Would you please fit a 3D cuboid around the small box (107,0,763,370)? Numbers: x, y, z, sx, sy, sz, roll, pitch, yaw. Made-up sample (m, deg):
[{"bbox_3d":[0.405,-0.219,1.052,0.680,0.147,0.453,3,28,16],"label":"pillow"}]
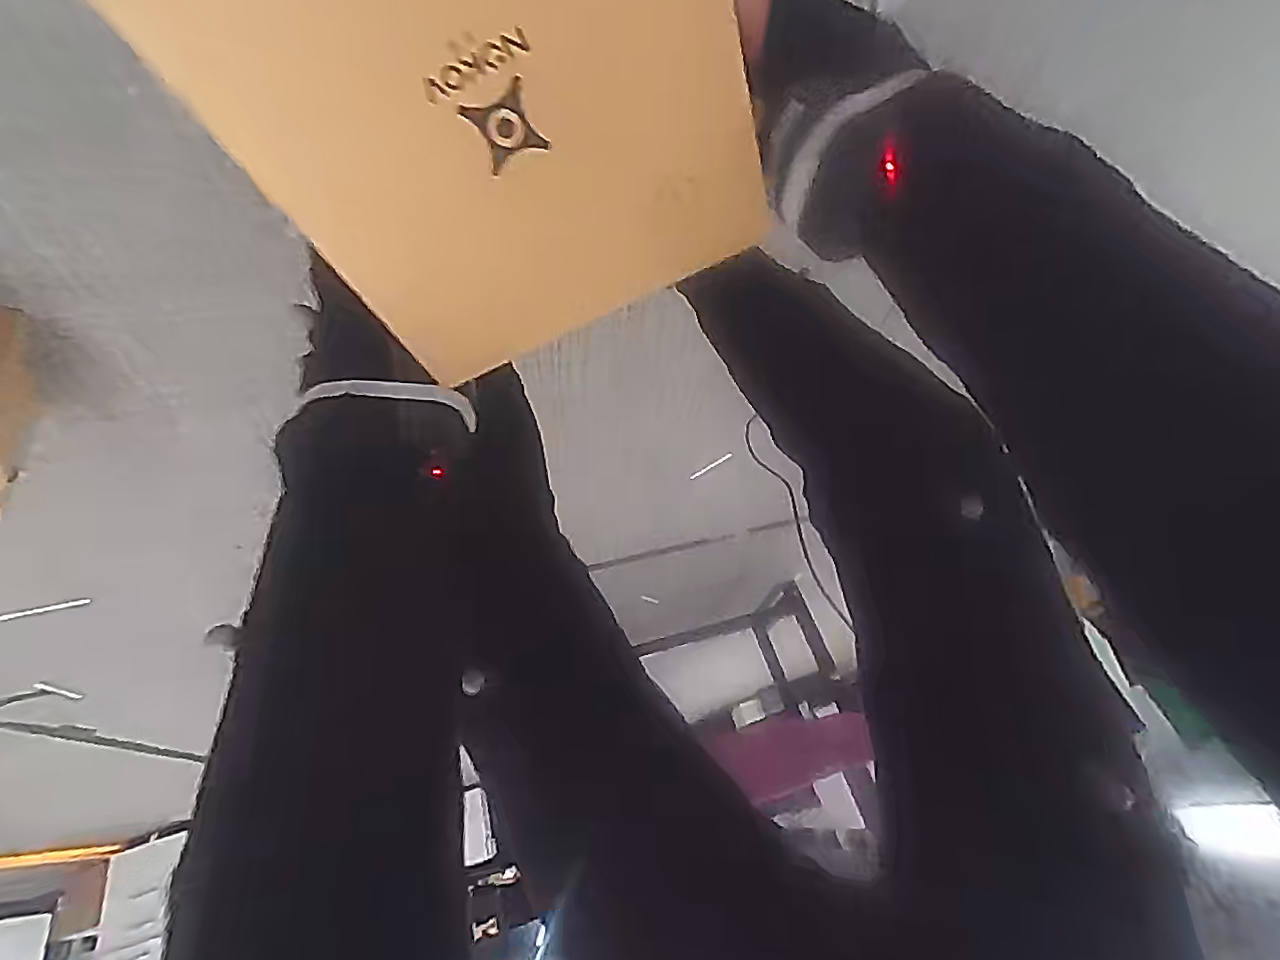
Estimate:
[{"bbox_3d":[-0.065,-0.187,0.227,0.168,0.176,0.179,-23,141,7],"label":"small box"}]
